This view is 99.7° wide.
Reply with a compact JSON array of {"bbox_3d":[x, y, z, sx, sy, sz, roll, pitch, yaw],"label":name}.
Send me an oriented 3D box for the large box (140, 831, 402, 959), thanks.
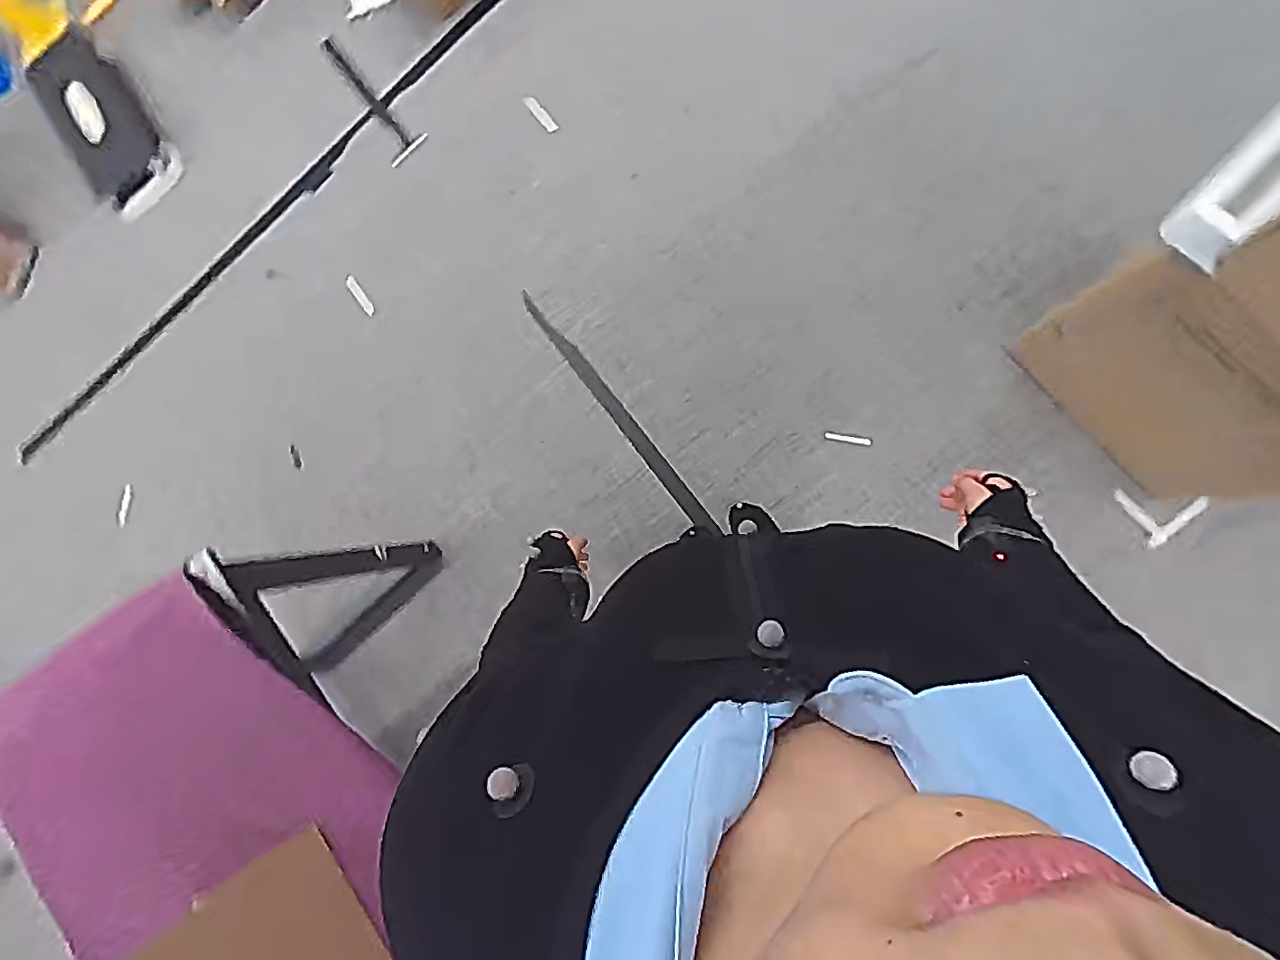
[{"bbox_3d":[-0.519,0.780,0.685,0.320,0.320,0.408,-40,82,7],"label":"large box"}]
